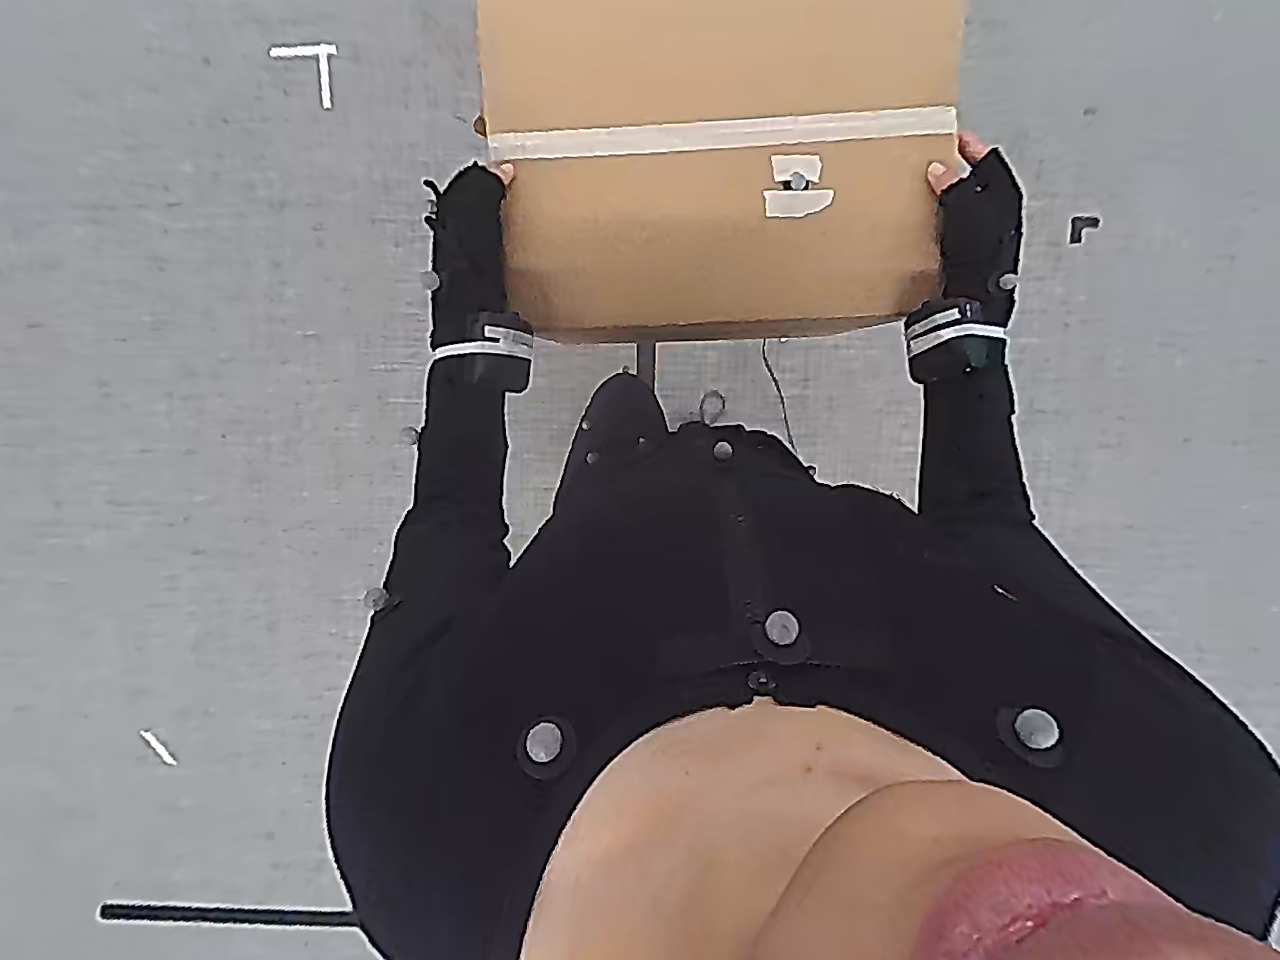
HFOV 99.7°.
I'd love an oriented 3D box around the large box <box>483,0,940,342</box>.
[{"bbox_3d":[0.068,-0.342,0.637,0.408,0.320,0.320,-3,102,2],"label":"large box"}]
